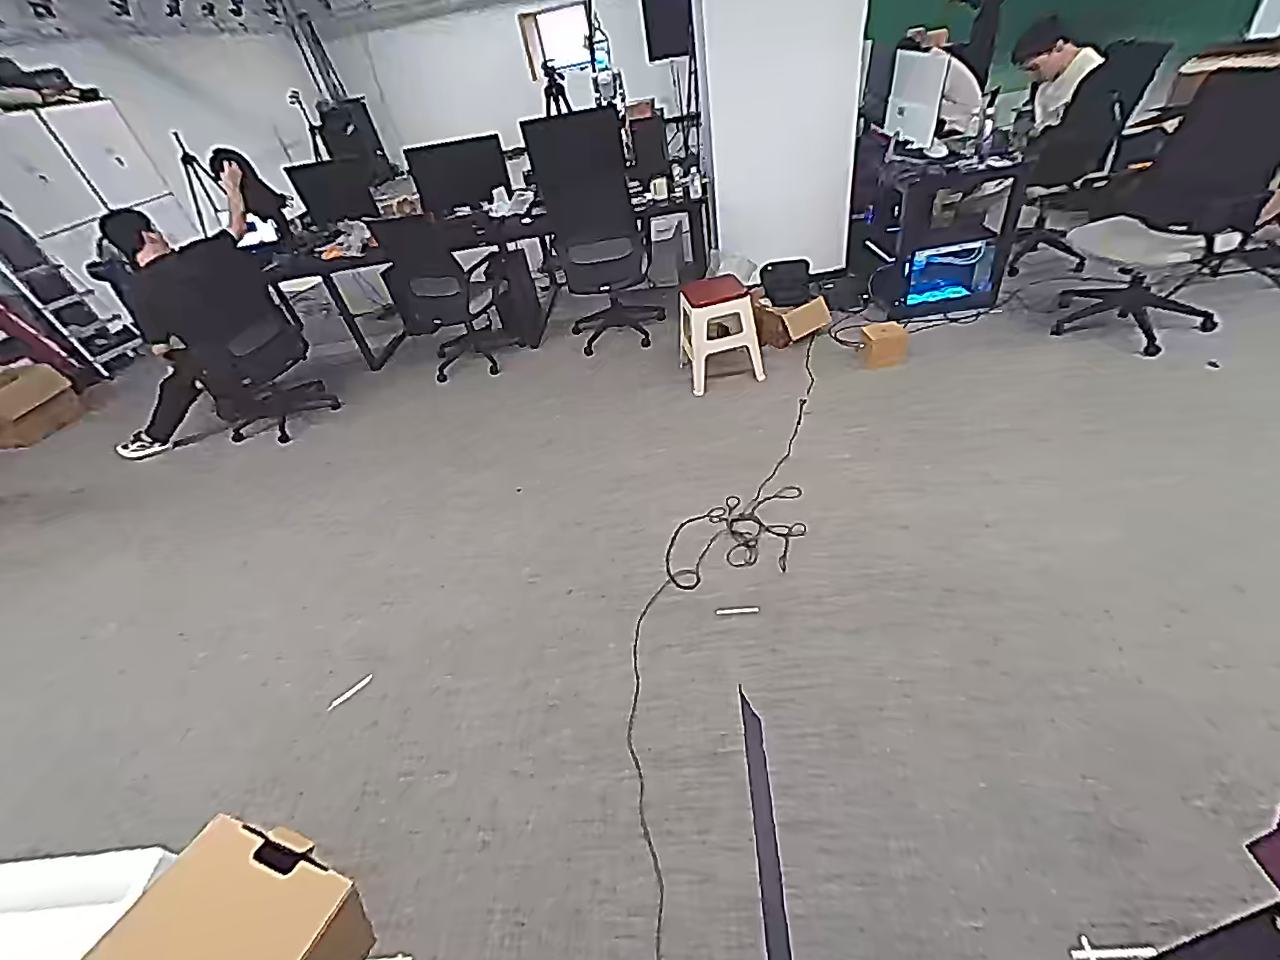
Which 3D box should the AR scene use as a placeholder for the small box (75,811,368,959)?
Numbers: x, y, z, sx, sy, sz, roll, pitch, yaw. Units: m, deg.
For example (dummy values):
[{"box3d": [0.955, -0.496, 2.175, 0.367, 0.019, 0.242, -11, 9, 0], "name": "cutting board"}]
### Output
[{"box3d": [-0.383, 0.463, 0.501, 0.168, 0.176, 0.179, 18, 35, 11], "name": "small box"}]
